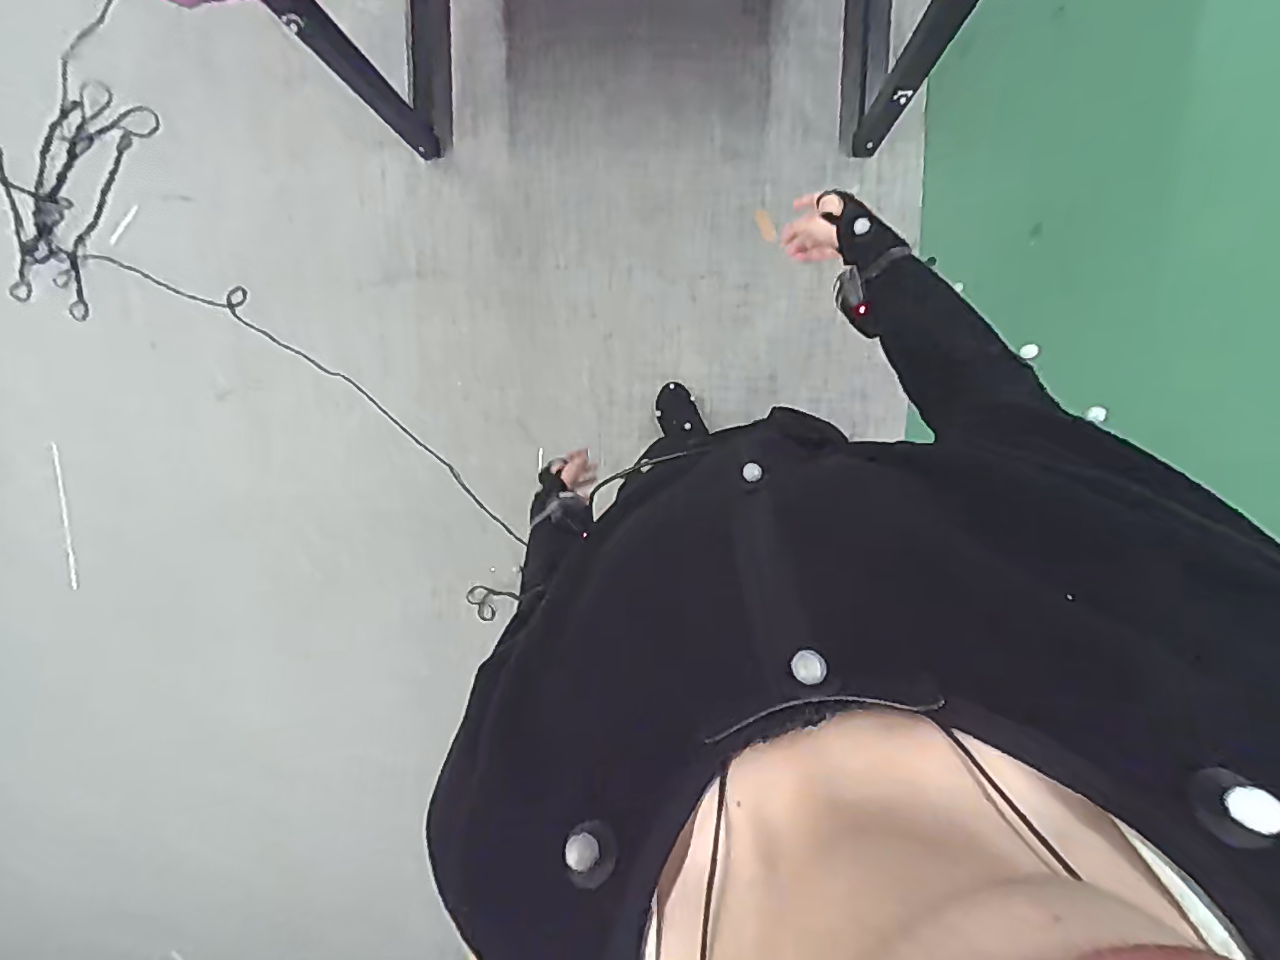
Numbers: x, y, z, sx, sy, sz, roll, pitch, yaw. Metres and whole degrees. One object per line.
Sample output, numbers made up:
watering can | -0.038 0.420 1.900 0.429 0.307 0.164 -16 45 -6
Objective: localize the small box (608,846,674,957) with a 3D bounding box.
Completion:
small box | 0.006 1.189 1.538 0.168 0.176 0.179 6 97 5
